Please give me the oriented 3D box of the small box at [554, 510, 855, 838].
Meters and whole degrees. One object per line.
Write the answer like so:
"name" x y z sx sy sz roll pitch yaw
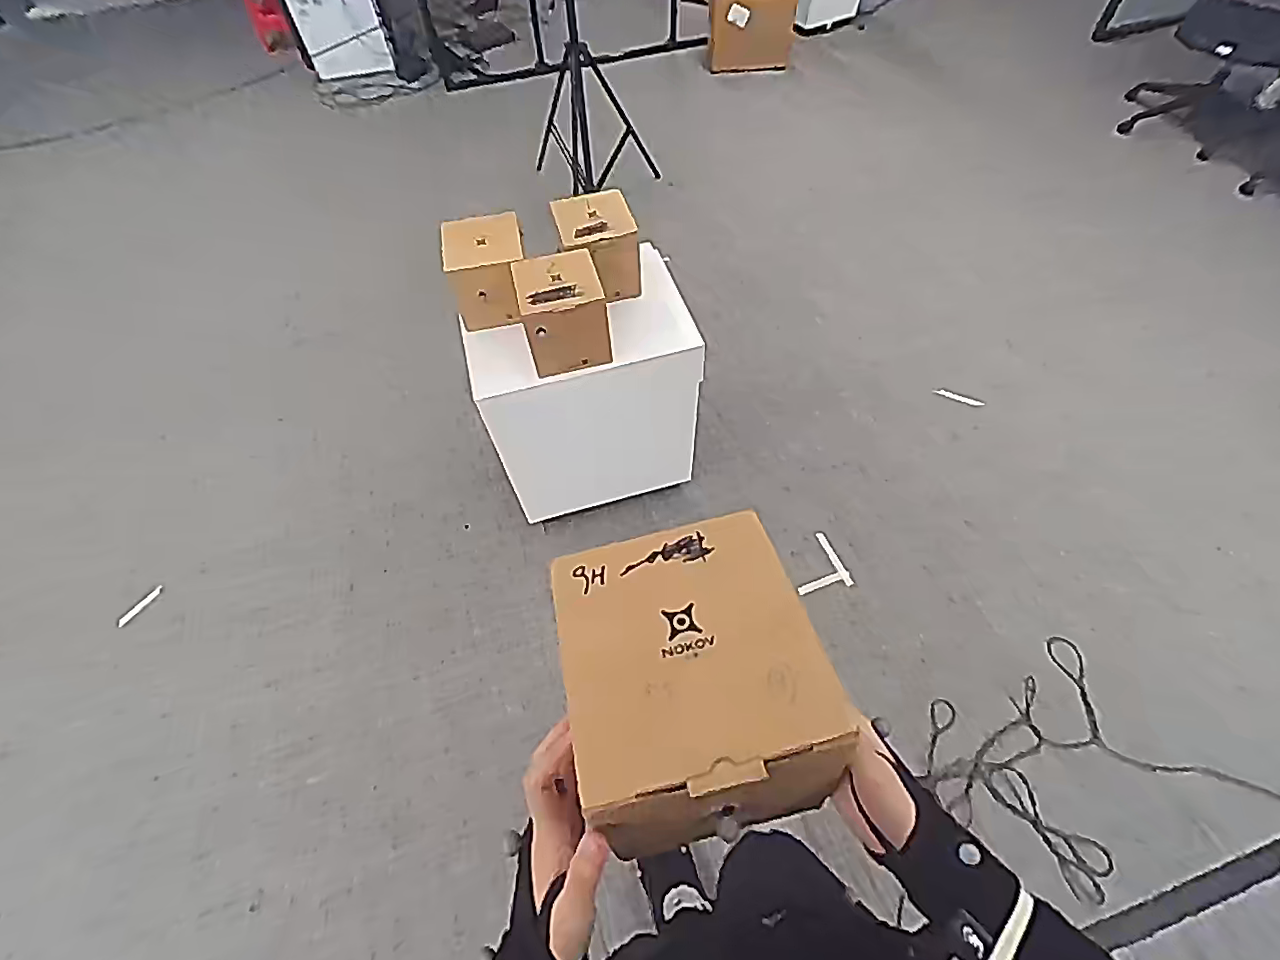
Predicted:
"small box" 0.039 0.155 0.419 0.168 0.176 0.179 -13 48 -4

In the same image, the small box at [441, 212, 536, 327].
"small box" -0.336 -0.464 1.216 0.168 0.176 0.179 -12 58 -6
